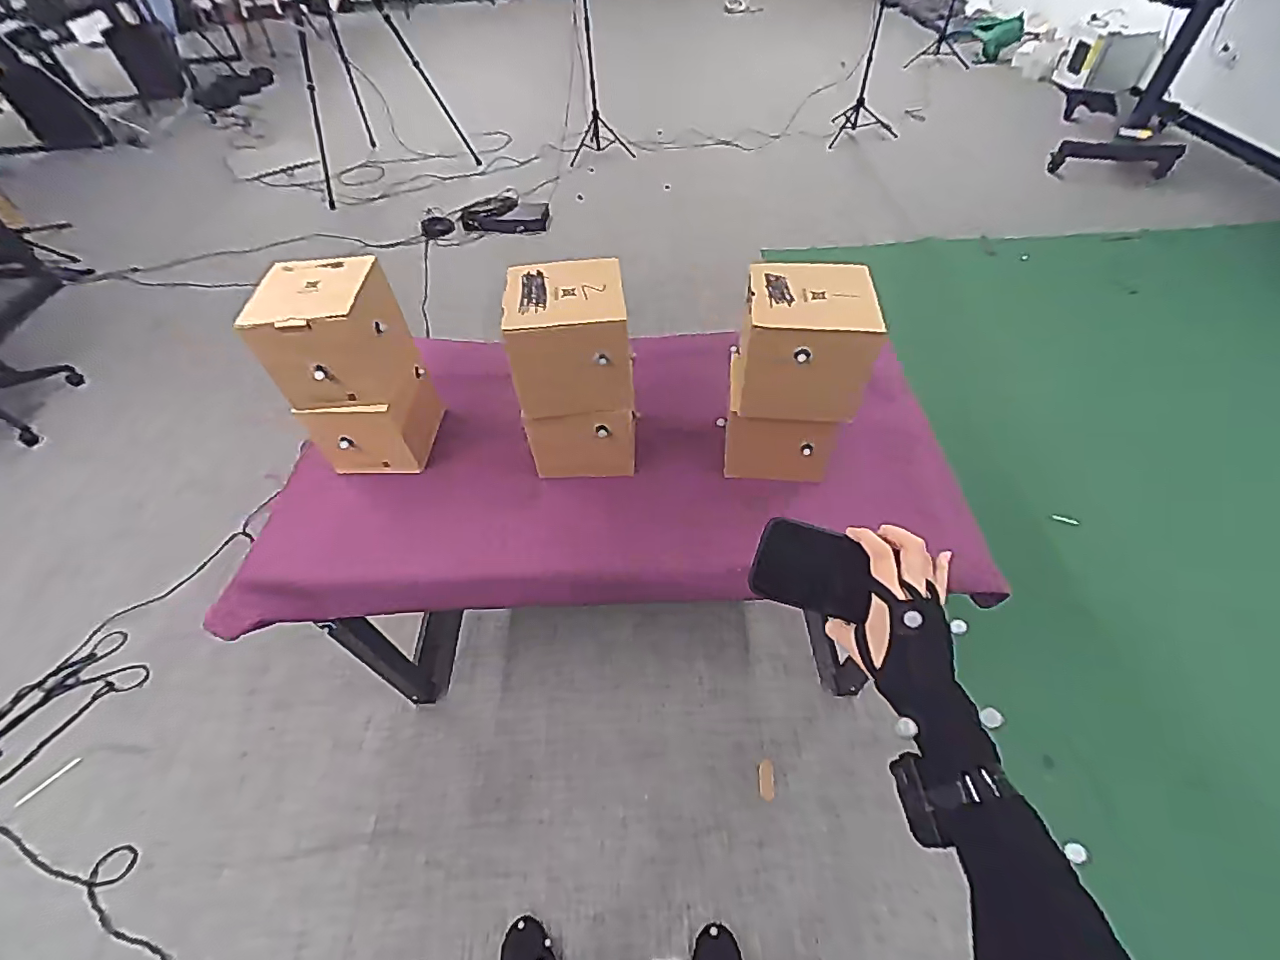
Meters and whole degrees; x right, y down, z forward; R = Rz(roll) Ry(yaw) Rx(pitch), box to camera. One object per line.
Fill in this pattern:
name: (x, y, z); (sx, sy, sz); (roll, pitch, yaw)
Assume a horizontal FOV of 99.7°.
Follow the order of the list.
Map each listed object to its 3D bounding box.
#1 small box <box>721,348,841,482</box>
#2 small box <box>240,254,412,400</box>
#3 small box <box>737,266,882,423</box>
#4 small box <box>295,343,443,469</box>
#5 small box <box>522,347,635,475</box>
small box: (0.240, -0.112, 0.955); (0.179, 0.176, 0.168); (4, 51, 7)
small box: (-0.496, -0.244, 0.889); (0.168, 0.176, 0.179); (-3, 52, -1)
small box: (0.242, -0.202, 0.818); (0.179, 0.176, 0.168); (5, 51, 6)
small box: (-0.489, -0.134, 1.011); (0.168, 0.176, 0.179); (0, 51, 3)
small box: (-0.100, -0.121, 0.979); (0.179, 0.176, 0.168); (-1, 51, 3)
